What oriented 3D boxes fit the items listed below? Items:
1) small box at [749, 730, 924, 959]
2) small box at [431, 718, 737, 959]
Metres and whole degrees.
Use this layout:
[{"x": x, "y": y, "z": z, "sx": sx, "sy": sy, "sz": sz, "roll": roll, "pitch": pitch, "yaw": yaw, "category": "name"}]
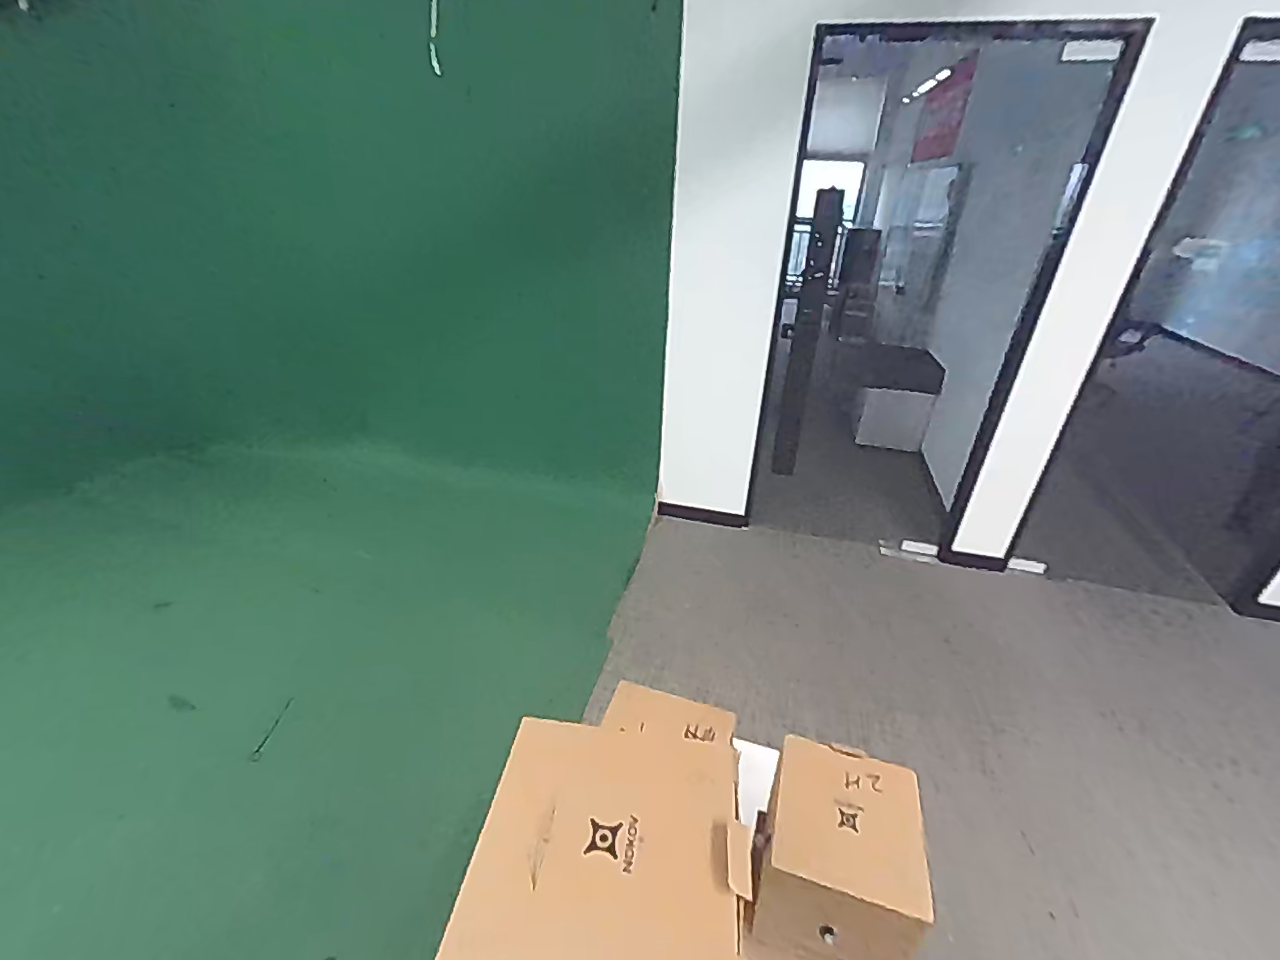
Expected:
[{"x": 0.237, "y": 0.462, "z": 0.678, "sx": 0.168, "sy": 0.176, "sz": 0.179, "roll": 12, "pitch": 30, "yaw": 15, "category": "small box"}, {"x": -0.025, "y": 0.312, "z": 0.405, "sx": 0.179, "sy": 0.176, "sz": 0.168, "roll": 4, "pitch": 29, "yaw": 6, "category": "small box"}]
